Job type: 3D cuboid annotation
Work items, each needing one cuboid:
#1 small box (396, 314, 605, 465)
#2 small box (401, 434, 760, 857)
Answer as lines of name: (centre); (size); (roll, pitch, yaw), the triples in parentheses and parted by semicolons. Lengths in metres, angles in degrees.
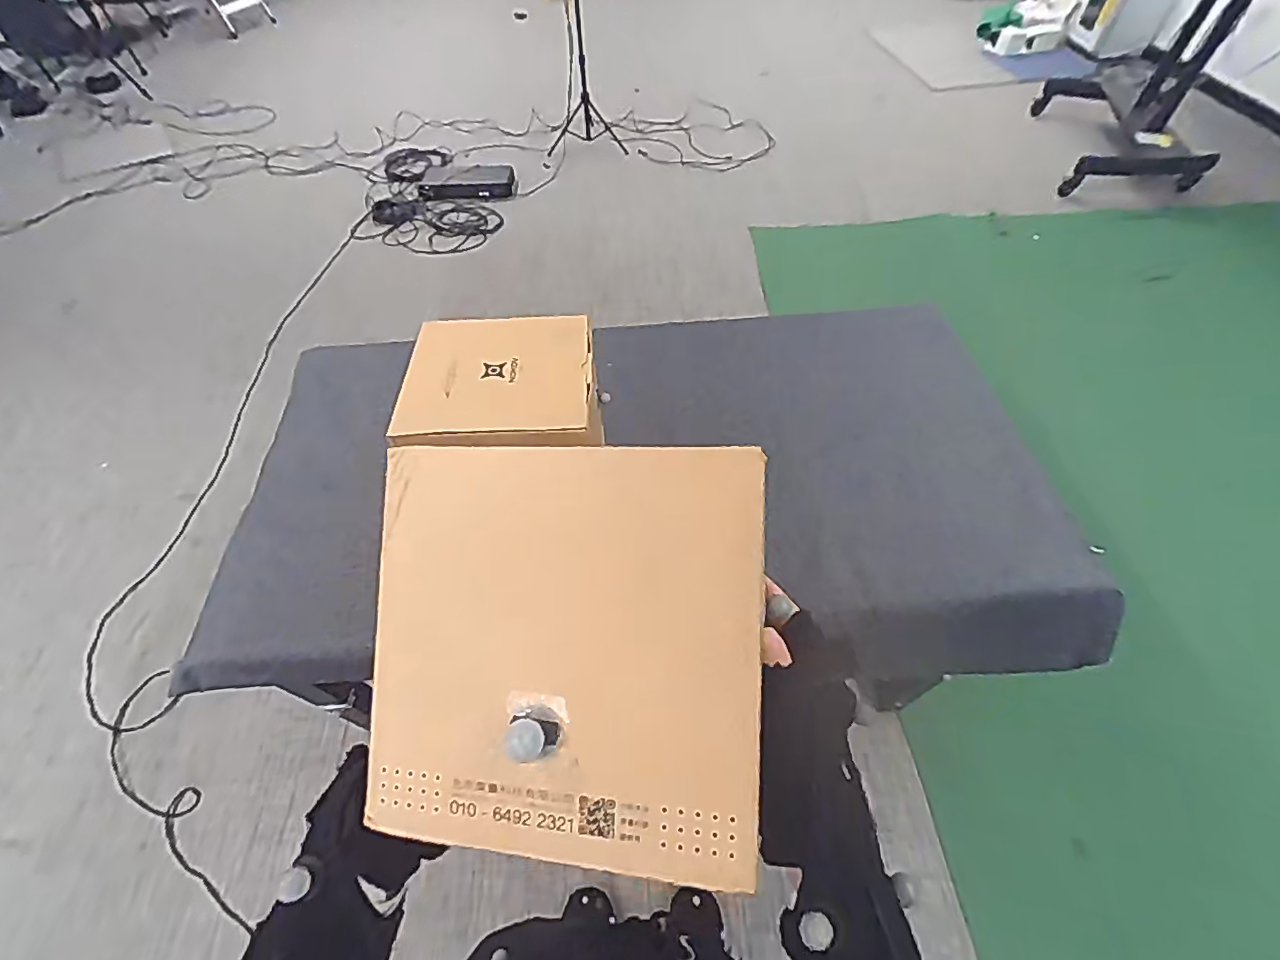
small box: (-0.130, -0.058, 0.587); (0.179, 0.176, 0.168); (-3, 51, 0)
small box: (-0.018, 0.070, 0.314); (0.168, 0.179, 0.176); (2, 88, 12)
